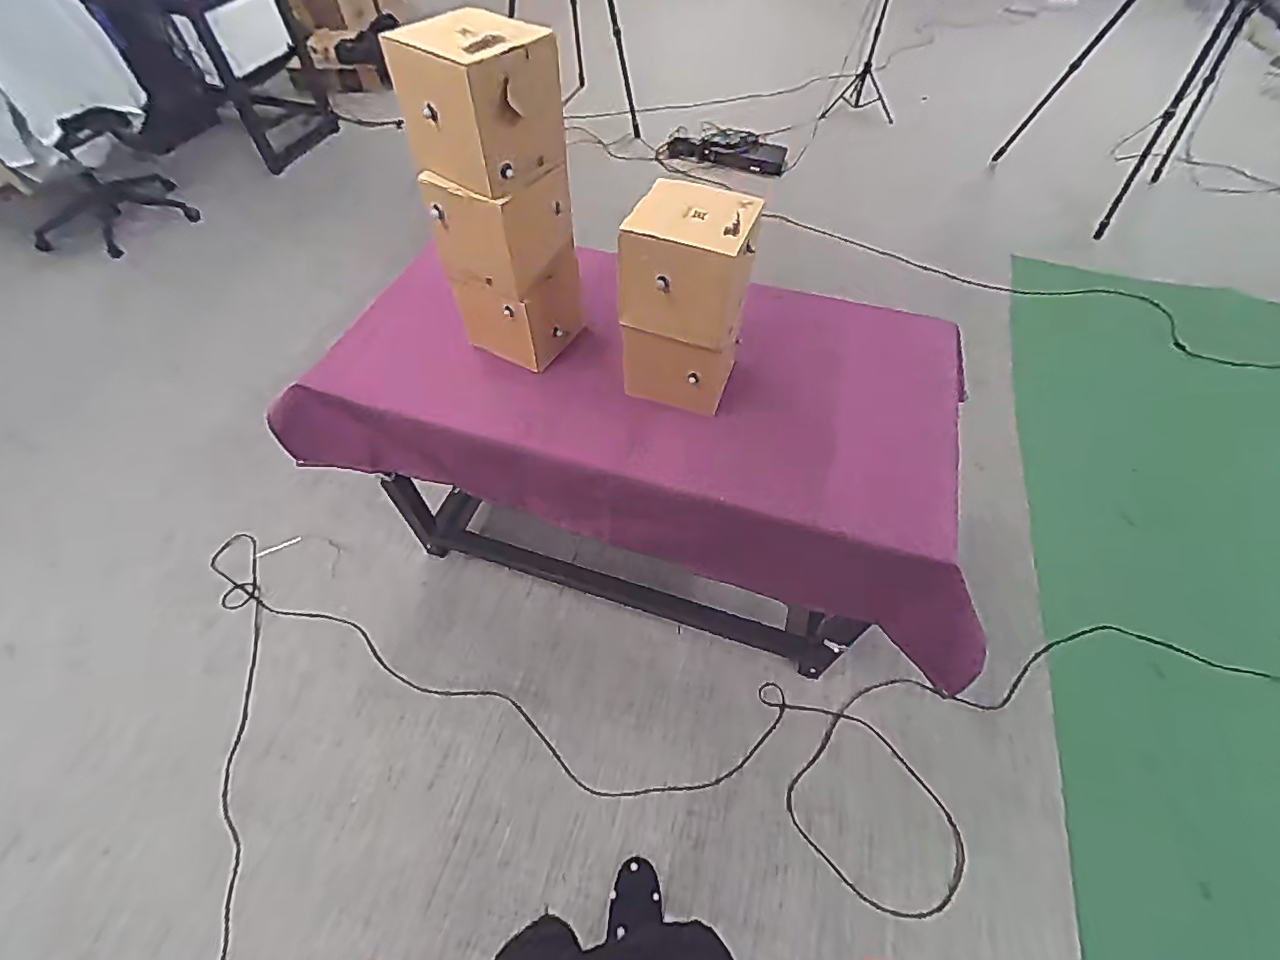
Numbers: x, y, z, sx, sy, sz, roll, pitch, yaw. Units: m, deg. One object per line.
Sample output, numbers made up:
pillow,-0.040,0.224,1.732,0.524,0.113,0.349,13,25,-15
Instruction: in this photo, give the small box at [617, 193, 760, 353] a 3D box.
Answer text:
small box,0.076,-0.330,0.872,0.179,0.176,0.168,19,56,13

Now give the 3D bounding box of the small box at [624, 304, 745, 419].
small box,0.079,-0.236,1.007,0.179,0.176,0.168,17,55,12

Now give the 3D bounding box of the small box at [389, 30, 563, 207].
small box,-0.234,-0.545,0.823,0.179,0.176,0.168,31,58,21

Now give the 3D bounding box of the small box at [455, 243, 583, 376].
small box,-0.231,-0.335,1.077,0.179,0.176,0.168,25,57,16
